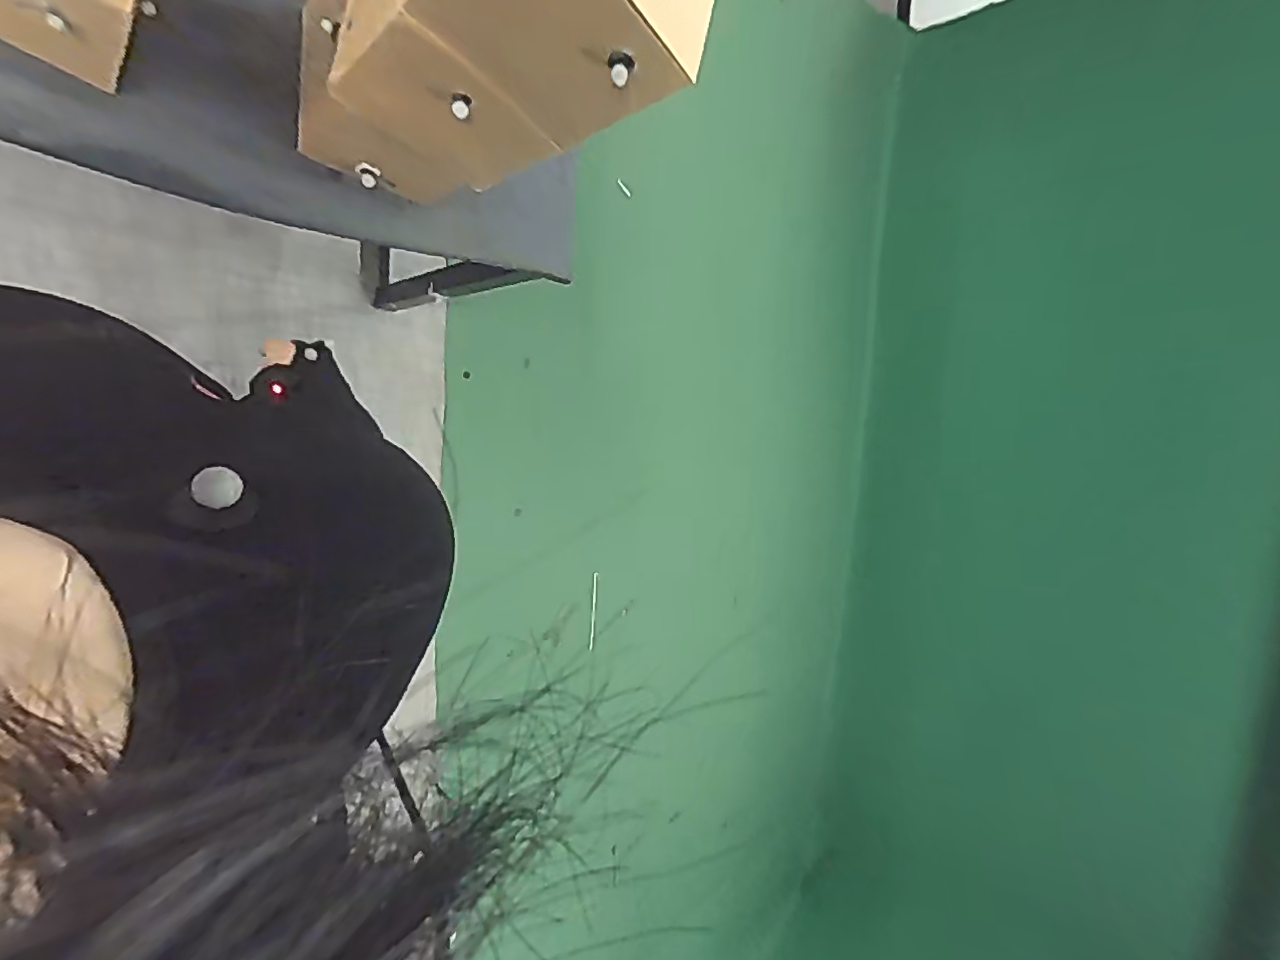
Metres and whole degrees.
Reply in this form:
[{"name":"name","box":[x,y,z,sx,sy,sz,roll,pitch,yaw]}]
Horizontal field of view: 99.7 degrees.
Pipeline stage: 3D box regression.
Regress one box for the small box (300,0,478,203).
[{"name":"small box","box":[-0.293,-0.468,0.652,0.168,0.176,0.179,0,96,-46]}]

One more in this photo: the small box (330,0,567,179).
[{"name":"small box","box":[-0.176,-0.435,0.543,0.179,0.176,0.168,16,84,-46]}]

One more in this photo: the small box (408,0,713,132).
[{"name":"small box","box":[-0.053,-0.420,0.433,0.179,0.176,0.168,18,82,-46]}]
